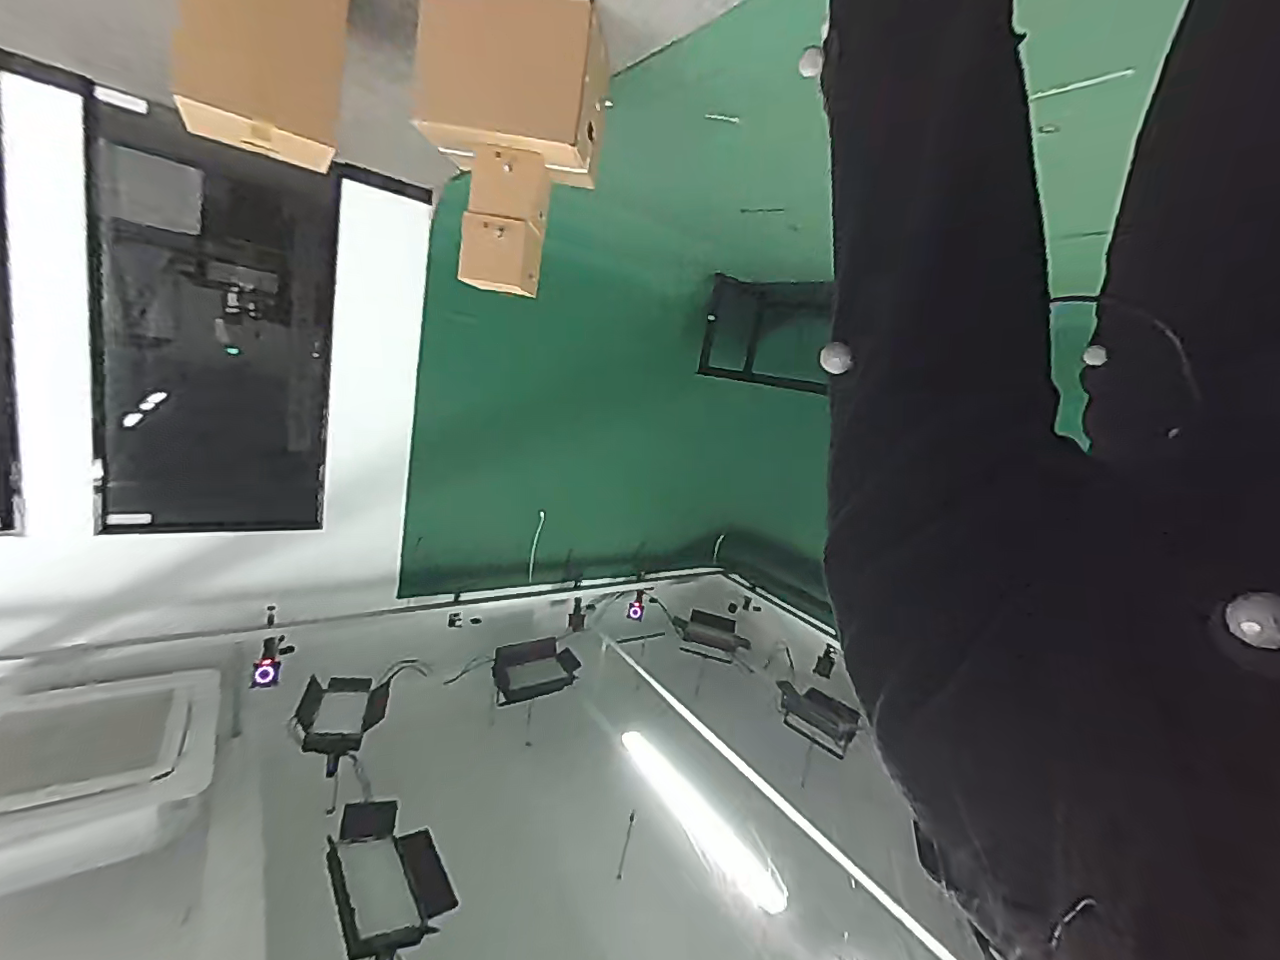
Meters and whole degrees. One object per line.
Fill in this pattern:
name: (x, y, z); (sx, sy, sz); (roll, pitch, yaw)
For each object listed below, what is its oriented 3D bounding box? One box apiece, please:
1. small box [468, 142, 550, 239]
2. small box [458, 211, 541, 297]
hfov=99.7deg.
small box: (-0.342, -0.765, 1.439); (0.168, 0.176, 0.179); (9, -170, -1)
small box: (-0.374, -0.607, 1.464); (0.168, 0.176, 0.179); (9, -169, 2)
